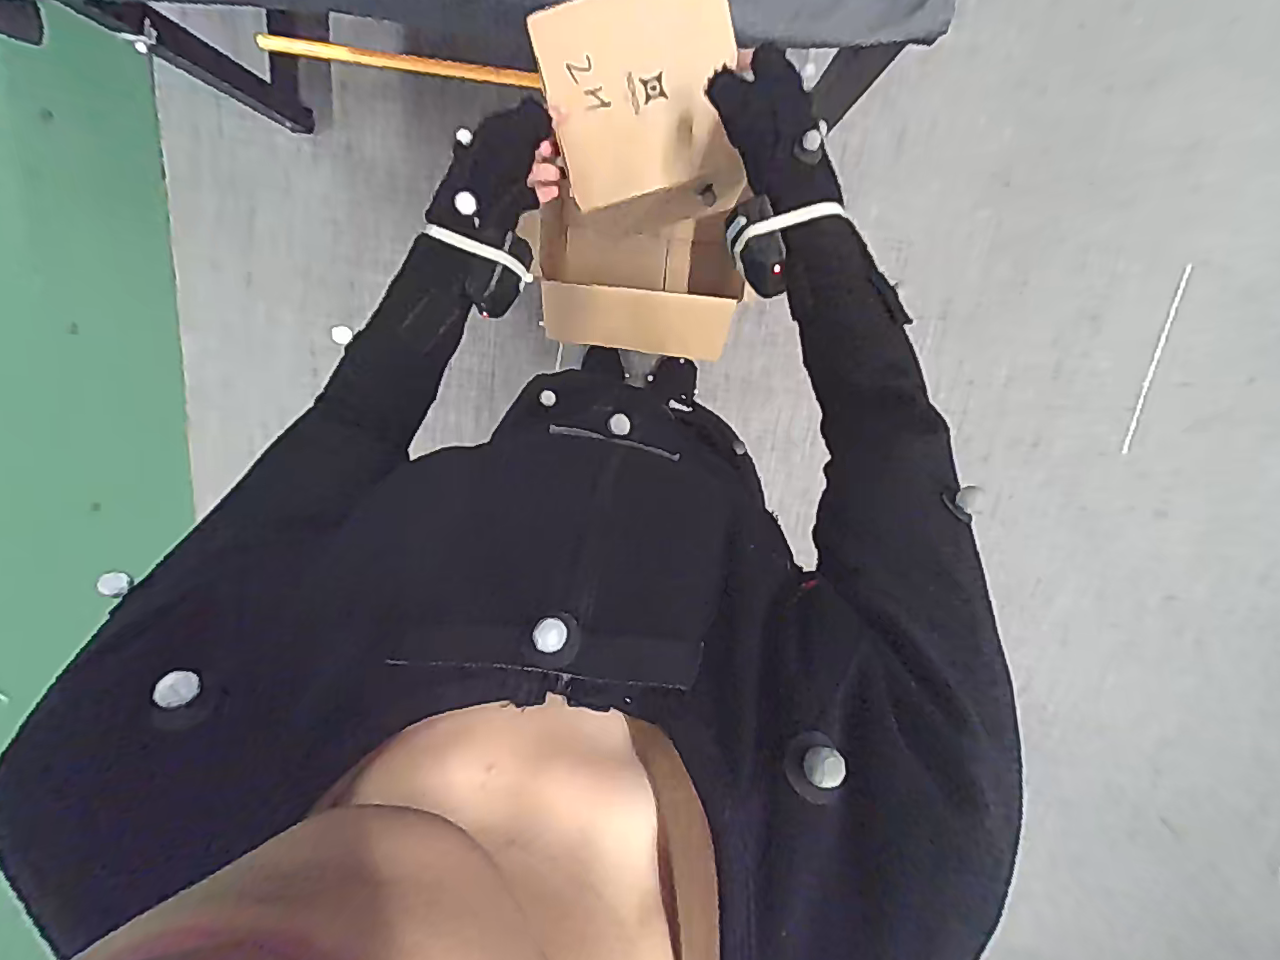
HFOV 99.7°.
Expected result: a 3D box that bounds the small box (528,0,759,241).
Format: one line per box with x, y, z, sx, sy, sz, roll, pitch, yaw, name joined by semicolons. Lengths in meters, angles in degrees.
0.007;-0.365;0.555;0.179;0.176;0.168;-14;102;5;small box
